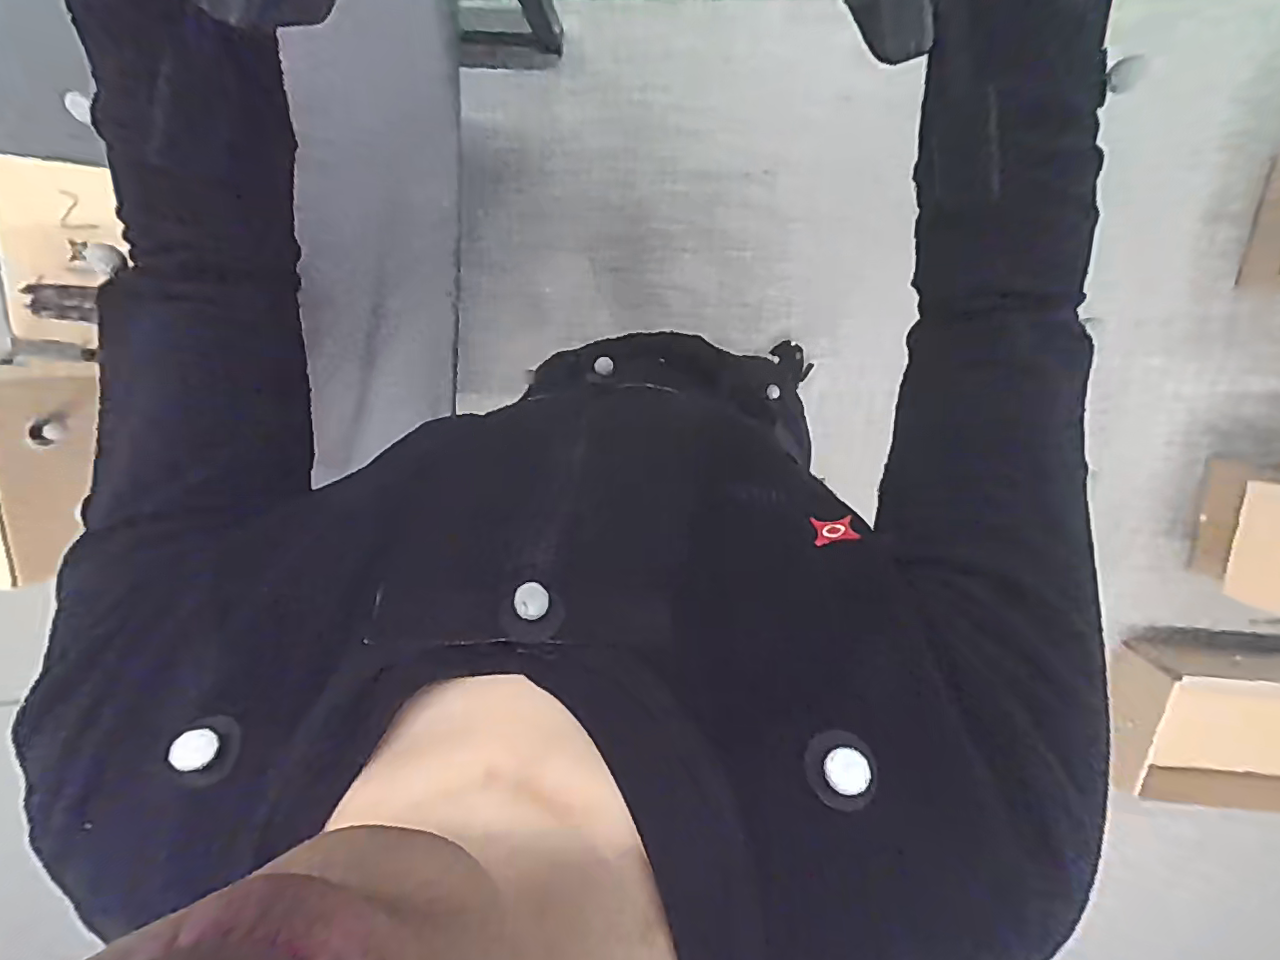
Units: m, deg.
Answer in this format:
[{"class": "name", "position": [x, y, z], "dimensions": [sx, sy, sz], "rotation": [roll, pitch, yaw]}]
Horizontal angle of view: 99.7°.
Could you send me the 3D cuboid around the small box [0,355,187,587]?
[{"class": "small box", "position": [-0.572, -0.022, 0.500], "dimensions": [0.168, 0.176, 0.179], "rotation": [5, 104, 1]}]
